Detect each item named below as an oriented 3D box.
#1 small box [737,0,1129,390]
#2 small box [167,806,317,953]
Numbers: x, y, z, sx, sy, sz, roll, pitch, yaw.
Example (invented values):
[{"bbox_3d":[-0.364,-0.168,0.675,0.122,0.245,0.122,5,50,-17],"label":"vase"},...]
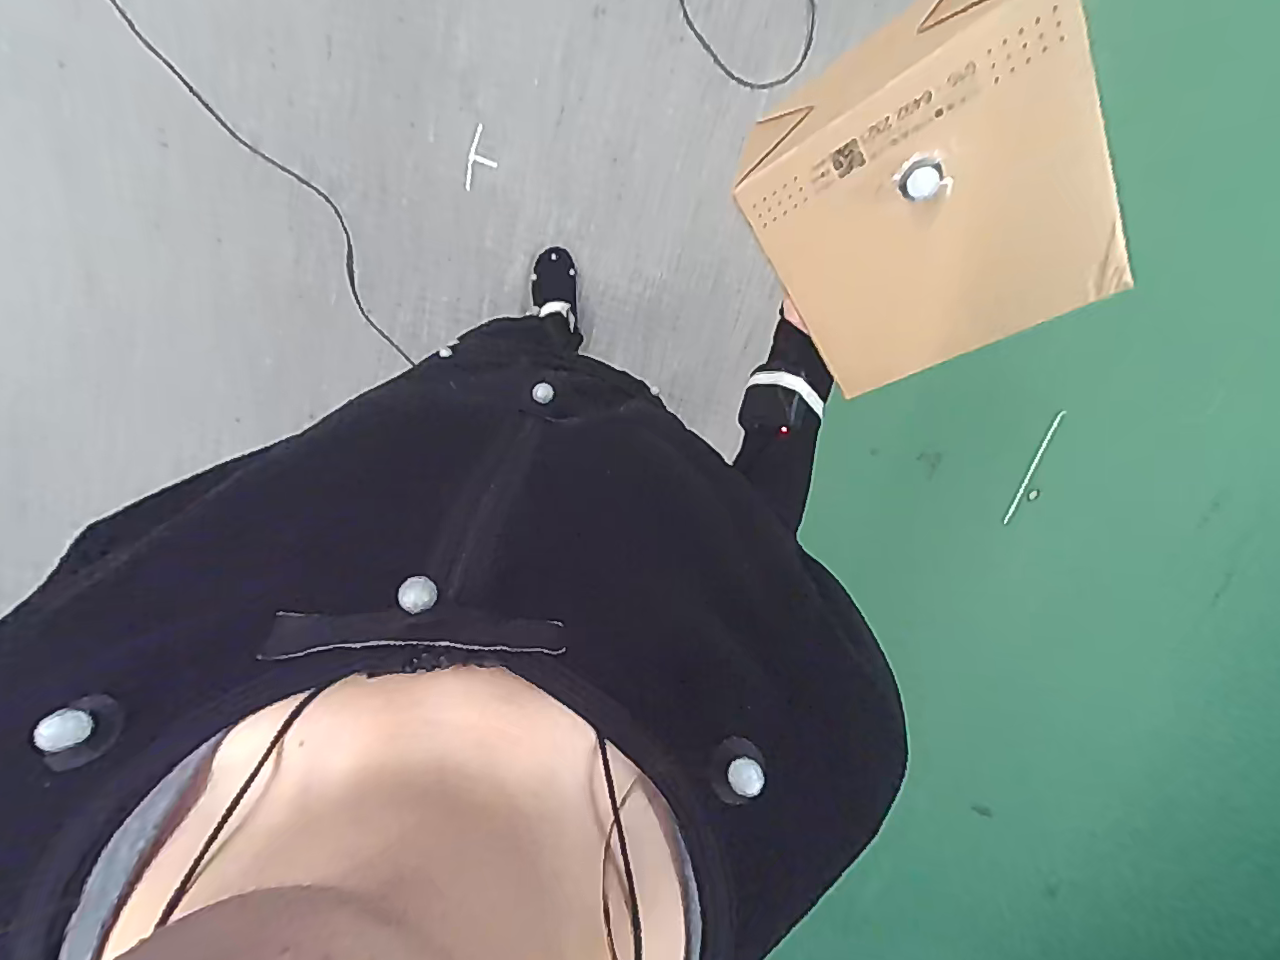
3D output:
[{"bbox_3d":[0.181,-0.200,0.365,0.168,0.179,0.176,-22,122,33],"label":"small box"},{"bbox_3d":[-0.795,0.803,1.100,0.179,0.176,0.168,20,100,-12],"label":"small box"}]
